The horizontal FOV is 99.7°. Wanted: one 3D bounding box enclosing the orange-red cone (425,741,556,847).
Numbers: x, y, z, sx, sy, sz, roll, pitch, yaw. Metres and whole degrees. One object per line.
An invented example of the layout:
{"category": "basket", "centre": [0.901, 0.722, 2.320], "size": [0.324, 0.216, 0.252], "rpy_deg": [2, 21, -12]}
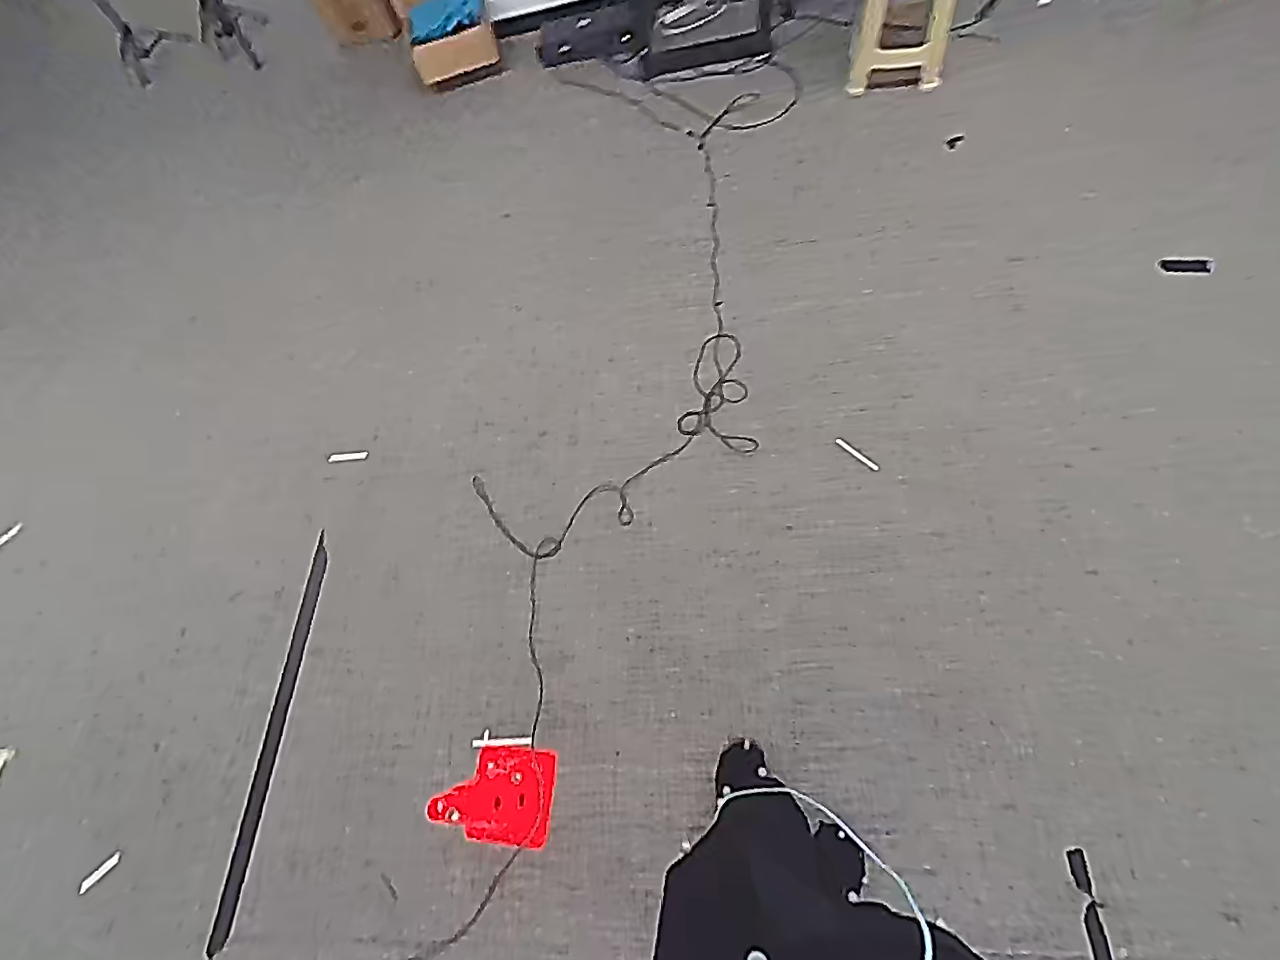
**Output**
{"category": "orange-red cone", "centre": [-0.332, 0.659, 1.114], "size": [0.198, 0.360, 0.199], "rpy_deg": [1, 65, 13]}
